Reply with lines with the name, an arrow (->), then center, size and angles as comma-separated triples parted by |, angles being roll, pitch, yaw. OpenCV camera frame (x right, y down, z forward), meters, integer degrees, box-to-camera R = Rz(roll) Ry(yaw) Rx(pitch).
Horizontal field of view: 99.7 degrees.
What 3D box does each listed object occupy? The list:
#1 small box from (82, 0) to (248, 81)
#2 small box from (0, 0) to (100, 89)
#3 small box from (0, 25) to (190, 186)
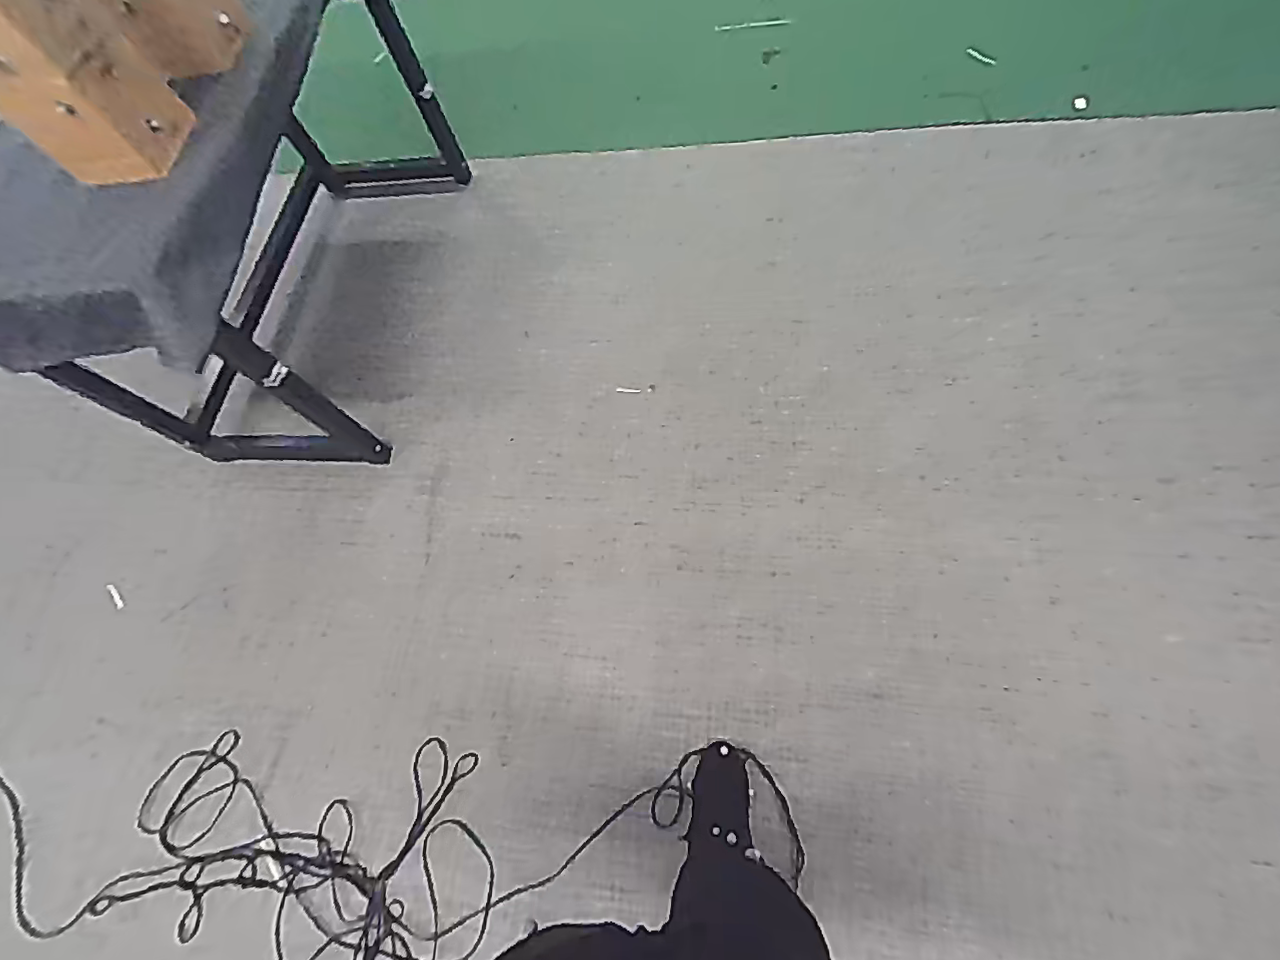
small box -> -0.929, -0.918, 1.056 | 0.179, 0.176, 0.168 | 0, 67, 9
small box -> -0.976, -0.711, 0.797 | 0.179, 0.176, 0.168 | -2, 66, 6
small box -> -0.958, -0.642, 0.944 | 0.179, 0.176, 0.168 | -1, 66, 7
